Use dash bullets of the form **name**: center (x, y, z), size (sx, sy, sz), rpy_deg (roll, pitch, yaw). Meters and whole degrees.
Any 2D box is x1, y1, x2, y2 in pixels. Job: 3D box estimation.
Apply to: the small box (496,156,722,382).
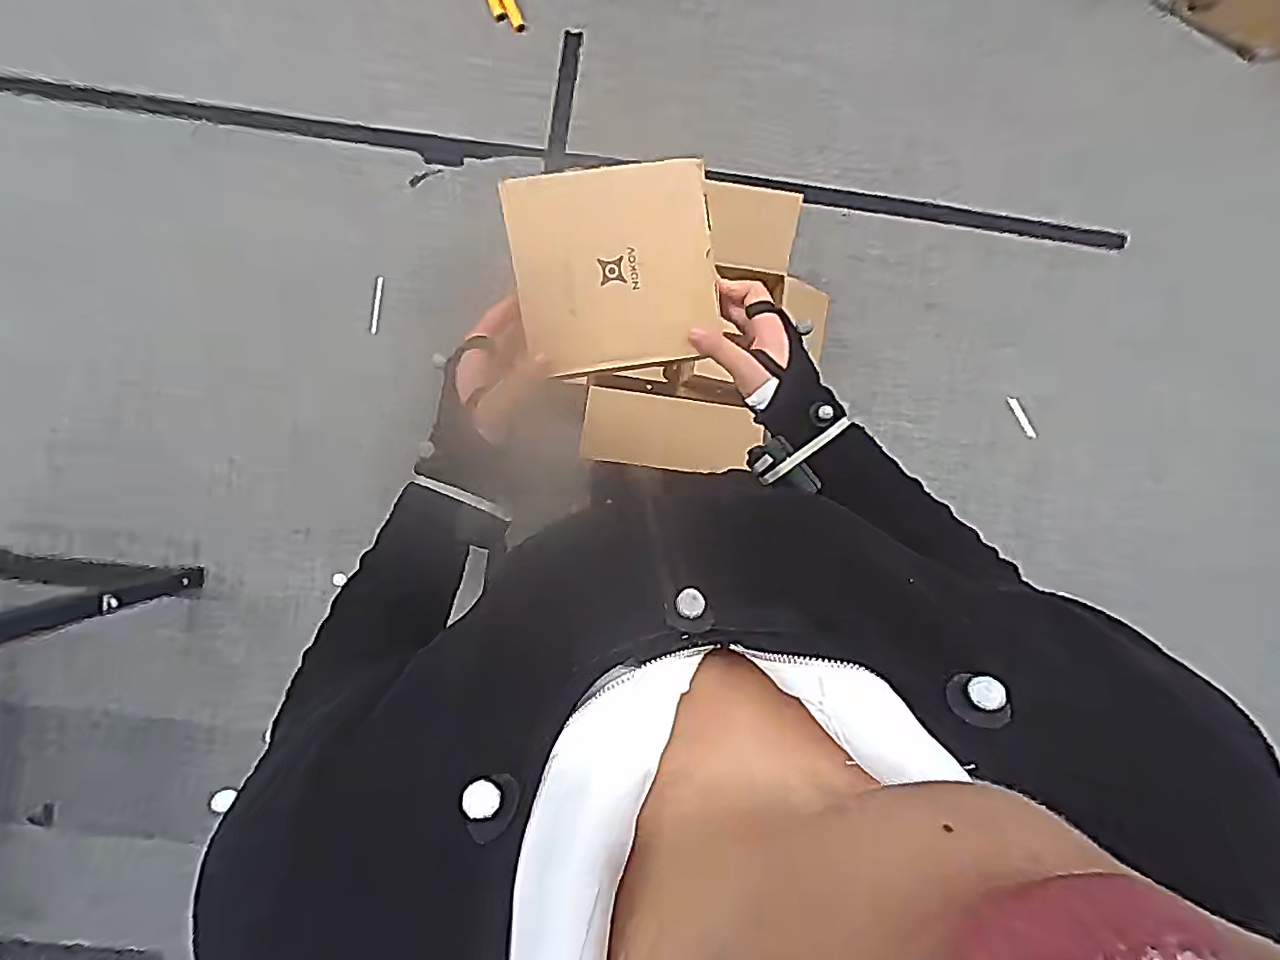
- **small box**: center (-0.030, -0.194, 0.544), size (0.179, 0.176, 0.168), rpy_deg (-10, 99, -2)
